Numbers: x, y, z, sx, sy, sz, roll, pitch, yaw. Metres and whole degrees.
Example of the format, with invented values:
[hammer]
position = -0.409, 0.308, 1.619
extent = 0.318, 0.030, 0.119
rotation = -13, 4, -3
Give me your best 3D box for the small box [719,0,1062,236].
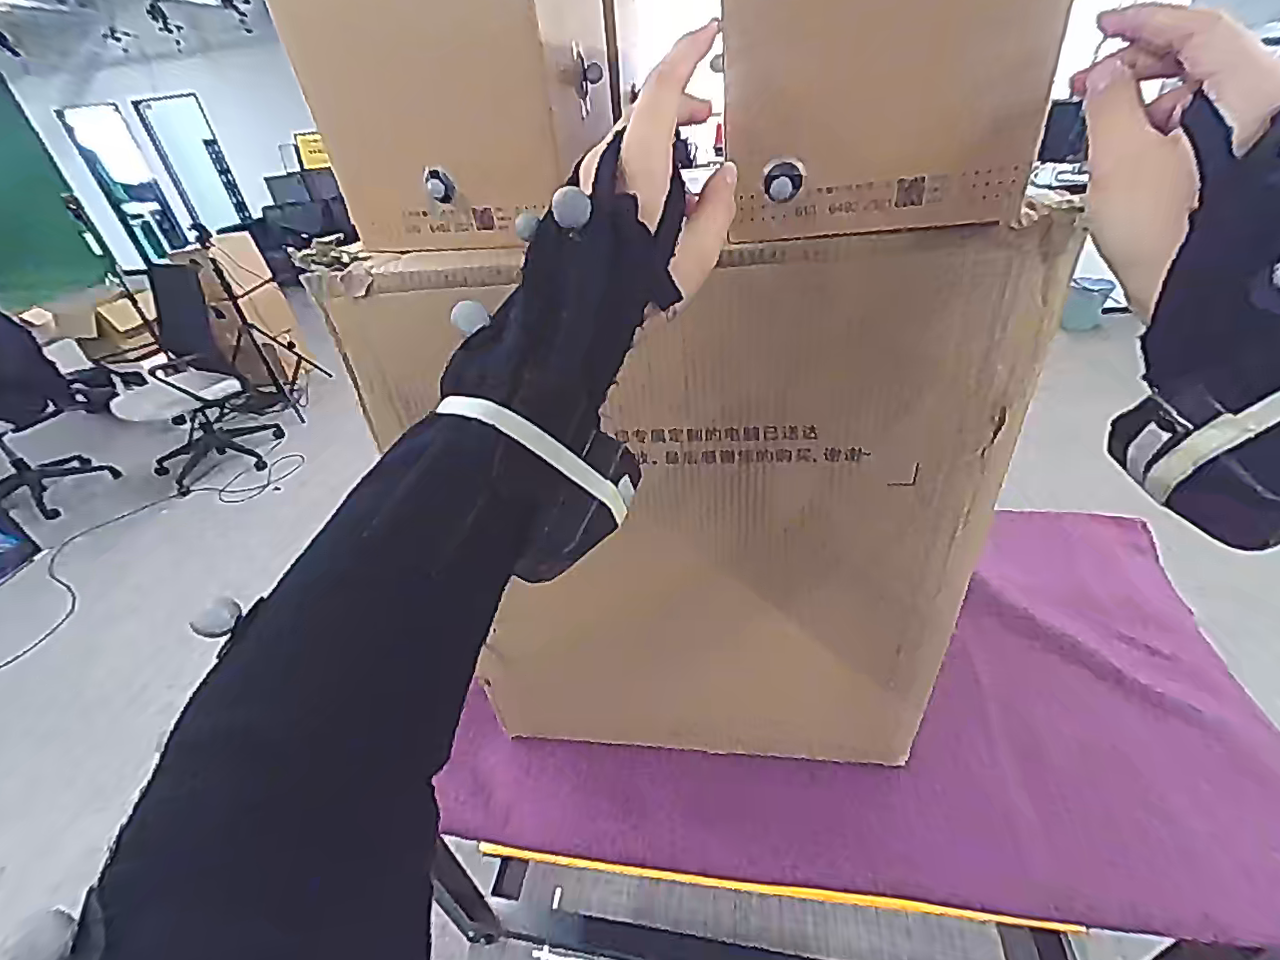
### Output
[small box]
position = 0.141, -0.261, 0.343
extent = 0.168, 0.176, 0.179
rotation = 1, 35, 13
